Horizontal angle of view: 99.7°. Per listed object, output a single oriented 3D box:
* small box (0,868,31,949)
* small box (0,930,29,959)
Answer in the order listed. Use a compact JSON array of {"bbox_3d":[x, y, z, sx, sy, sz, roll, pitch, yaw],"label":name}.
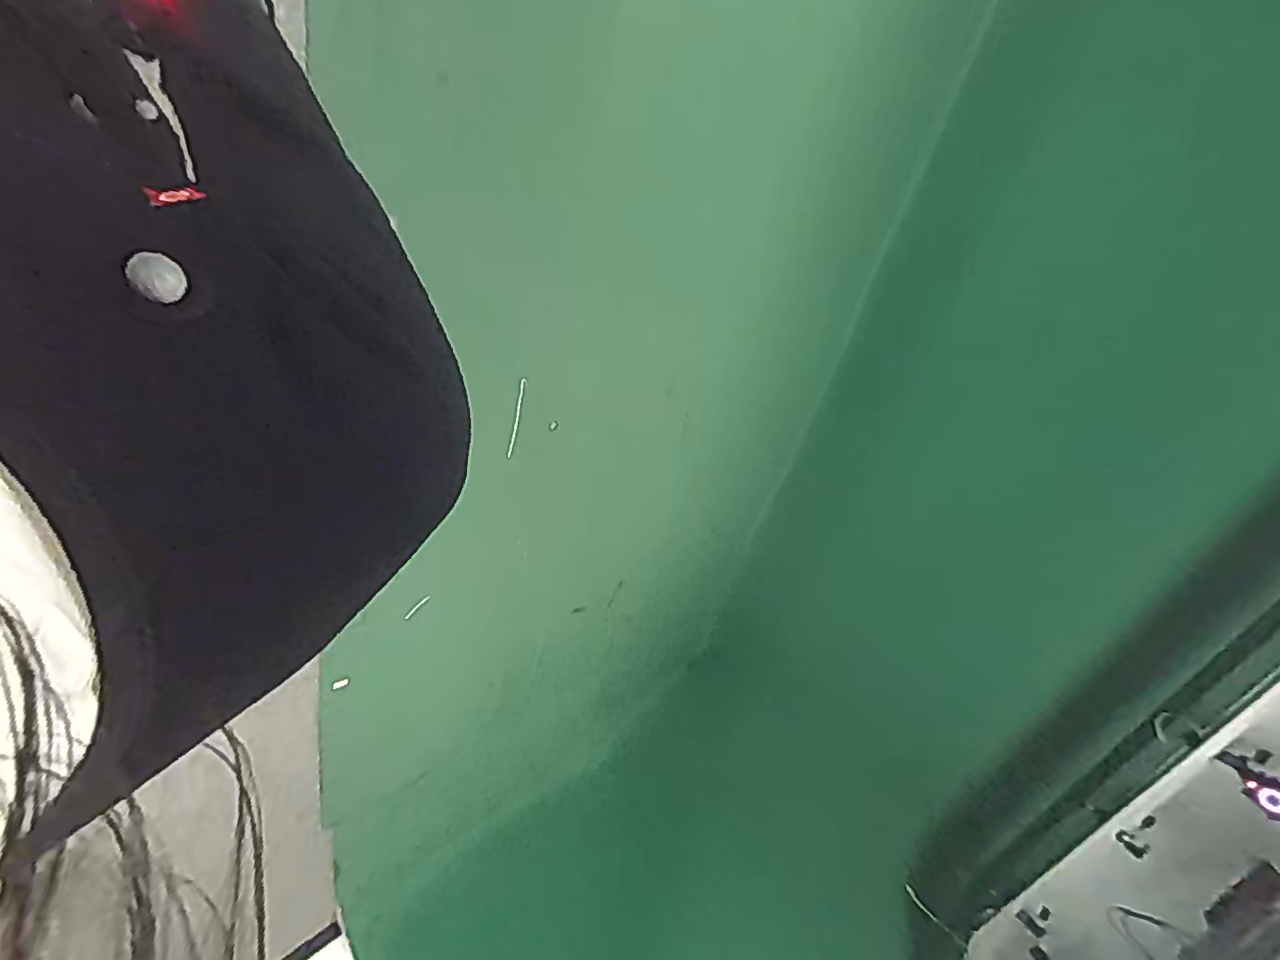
[{"bbox_3d":[-1.768,1.187,1.430,0.179,0.176,0.168,-14,130,-46],"label":"small box"},{"bbox_3d":[-1.647,1.282,1.339,0.168,0.176,0.179,-17,131,-46],"label":"small box"}]
